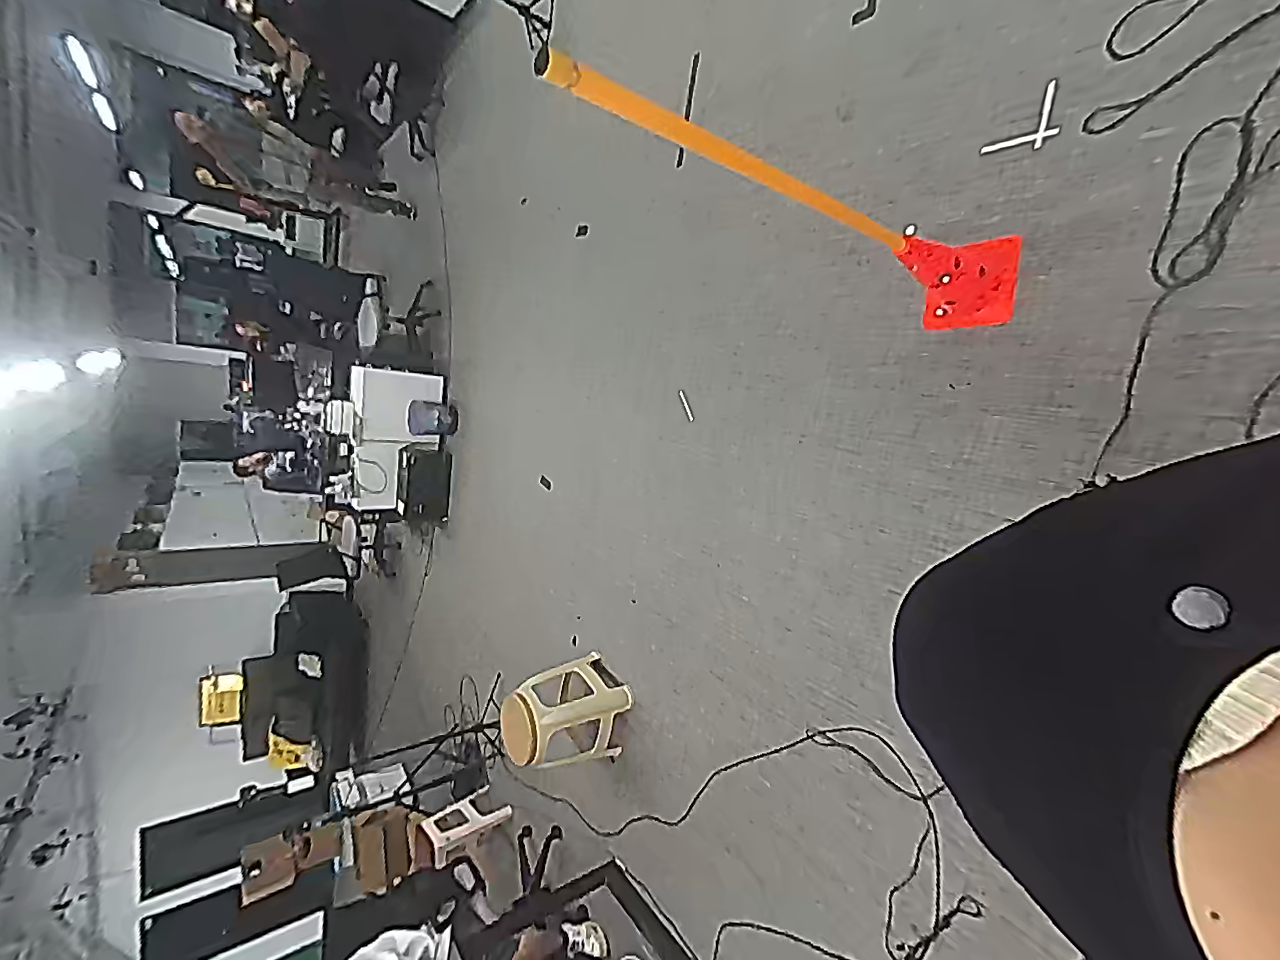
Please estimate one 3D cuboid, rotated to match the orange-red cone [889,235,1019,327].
[{"bbox_3d":[0.652,-0.472,1.186,0.199,0.360,0.198,11,99,50],"label":"orange-red cone"}]
